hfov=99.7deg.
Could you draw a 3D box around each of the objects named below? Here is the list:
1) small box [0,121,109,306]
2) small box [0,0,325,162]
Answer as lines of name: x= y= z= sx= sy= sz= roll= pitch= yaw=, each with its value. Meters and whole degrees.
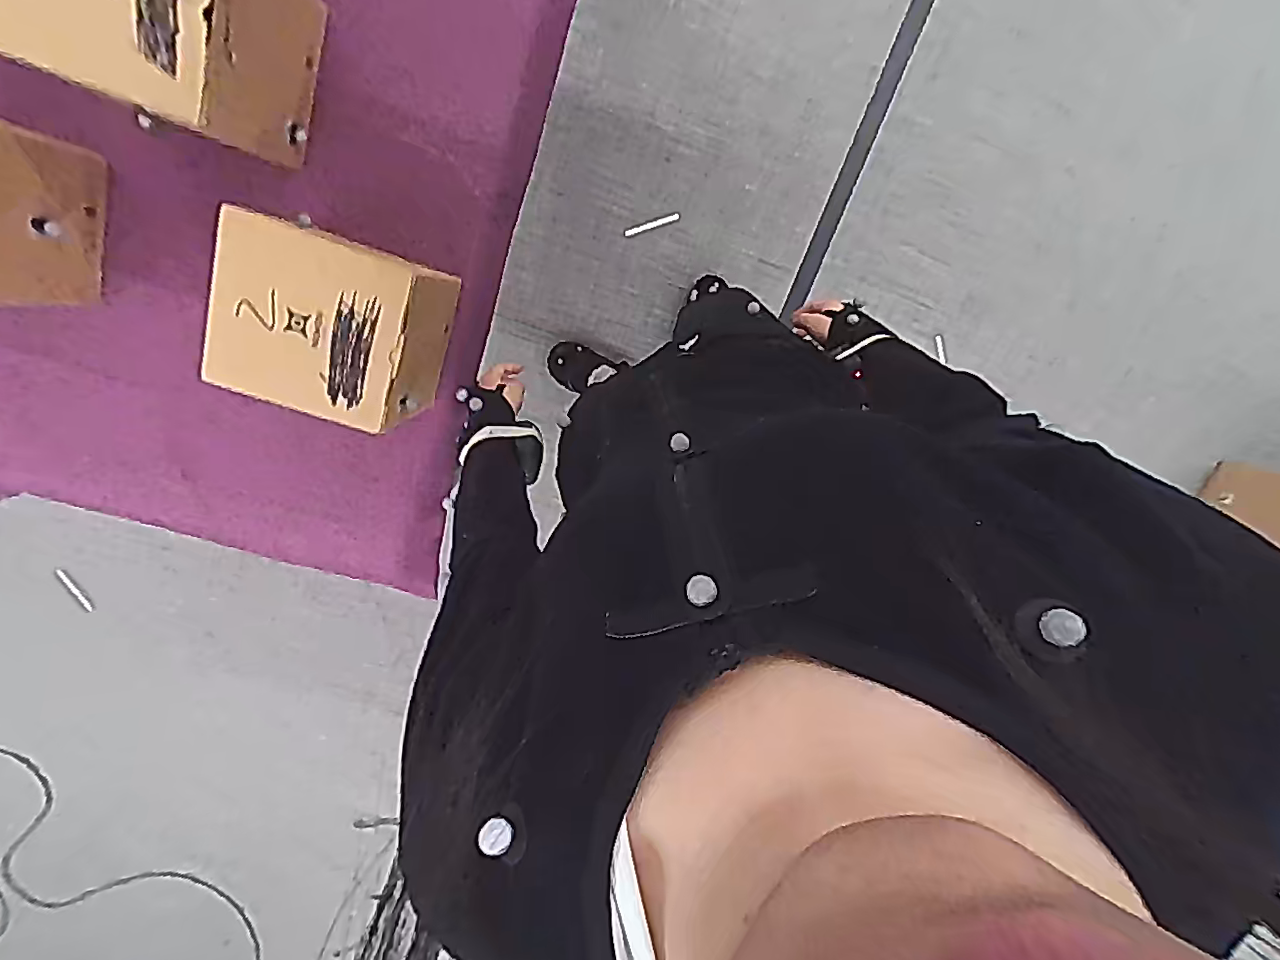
small box: x=-0.683 y=-0.280 z=0.531 sx=0.179 sy=0.176 sz=0.168 roll=16 pitch=105 yaw=-11
small box: x=-0.430 y=-0.425 z=0.505 sx=0.179 sy=0.176 sz=0.168 roll=18 pitch=105 yaw=-9
